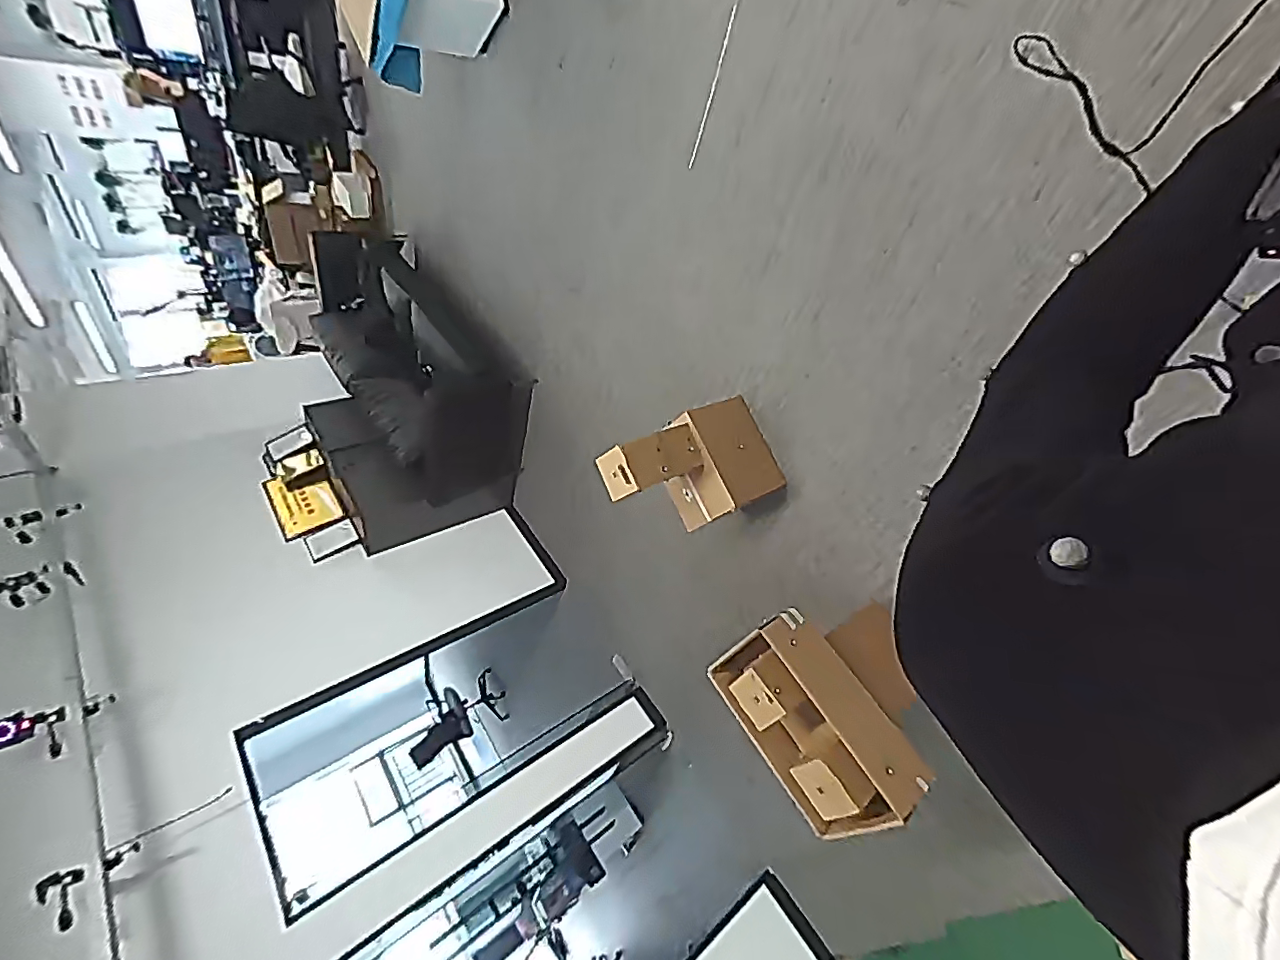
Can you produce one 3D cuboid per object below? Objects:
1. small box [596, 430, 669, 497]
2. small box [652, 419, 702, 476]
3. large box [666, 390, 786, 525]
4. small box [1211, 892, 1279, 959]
[{"bbox_3d":[-0.020,-0.060,1.900,0.179,0.176,0.168,-26,87,54],"label":"small box"},{"bbox_3d":[0.098,-0.110,2.002,0.179,0.176,0.168,-27,86,53],"label":"small box"},{"bbox_3d":[0.304,-0.091,2.165,0.408,0.320,0.320,62,145,7],"label":"large box"},{"bbox_3d":[1.245,0.957,1.034,0.168,0.176,0.179,-14,94,56],"label":"small box"}]
